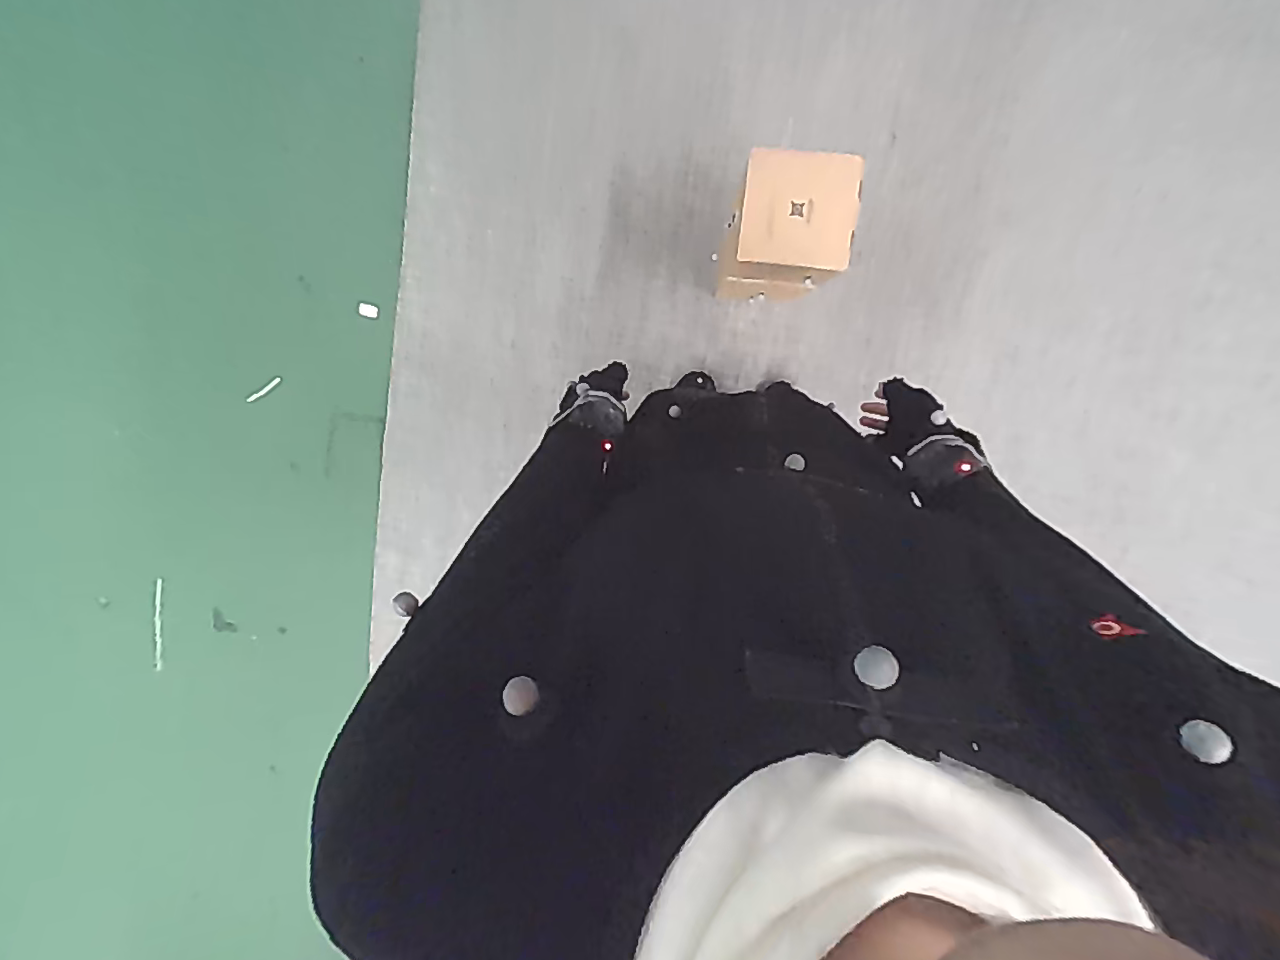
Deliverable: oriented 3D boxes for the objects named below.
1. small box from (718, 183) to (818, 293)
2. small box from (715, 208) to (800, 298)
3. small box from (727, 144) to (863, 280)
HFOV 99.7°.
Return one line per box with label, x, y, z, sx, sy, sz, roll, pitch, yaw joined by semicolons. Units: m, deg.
small box;0.257;-0.470;1.070;0.179;0.176;0.168;6;103;2
small box;0.270;-0.510;1.228;0.179;0.176;0.168;2;103;3
small box;0.249;-0.439;0.911;0.179;0.176;0.168;6;102;4
